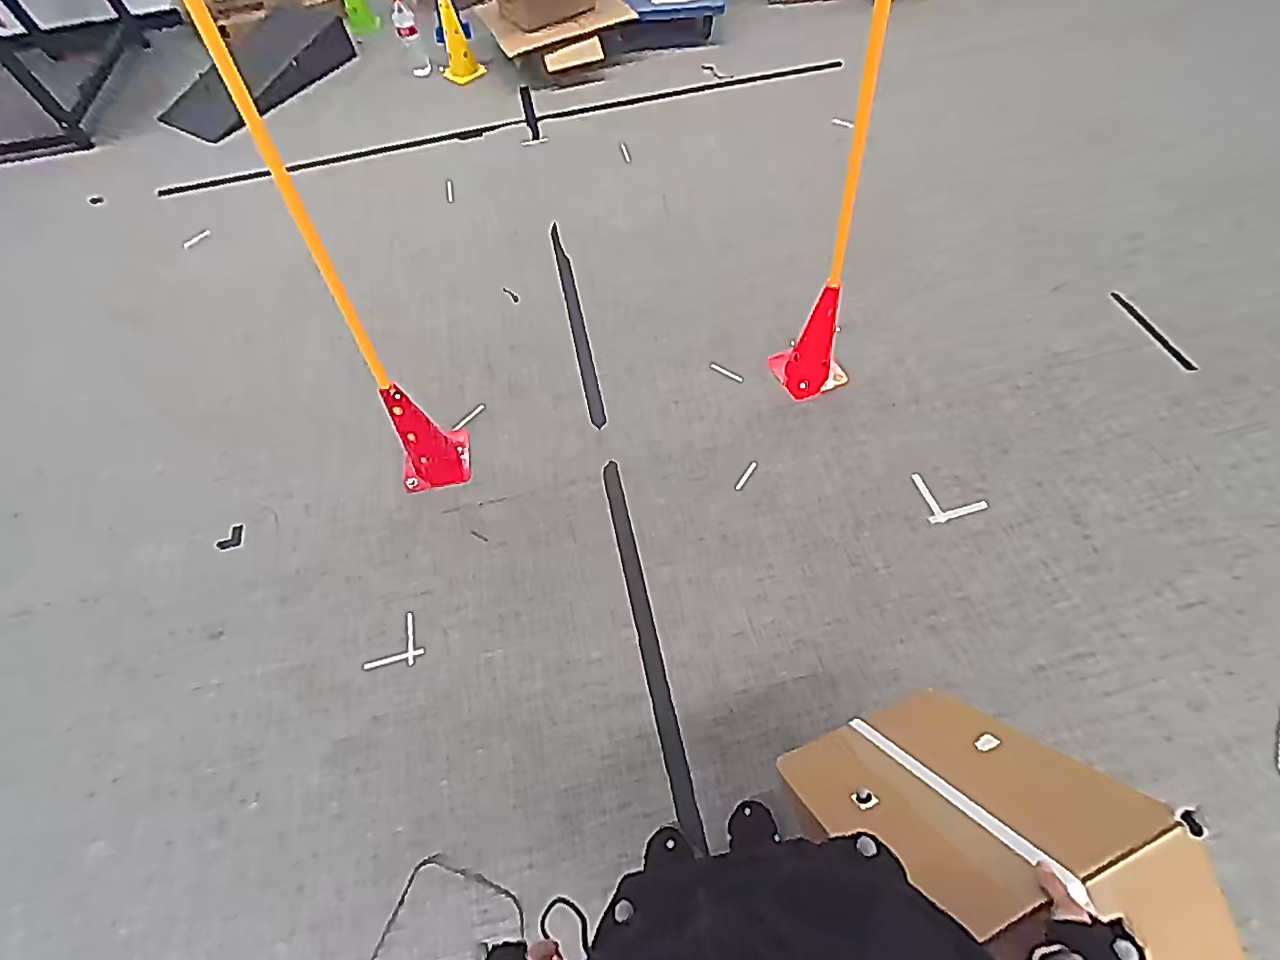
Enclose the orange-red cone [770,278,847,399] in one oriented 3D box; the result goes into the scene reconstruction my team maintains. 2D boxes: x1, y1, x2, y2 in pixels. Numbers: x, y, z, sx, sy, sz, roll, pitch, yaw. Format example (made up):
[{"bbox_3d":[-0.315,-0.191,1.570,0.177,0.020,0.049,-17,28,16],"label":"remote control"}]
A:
[{"bbox_3d":[0.538,-0.442,1.602,0.199,0.360,0.198,-20,62,-9],"label":"orange-red cone"}]
